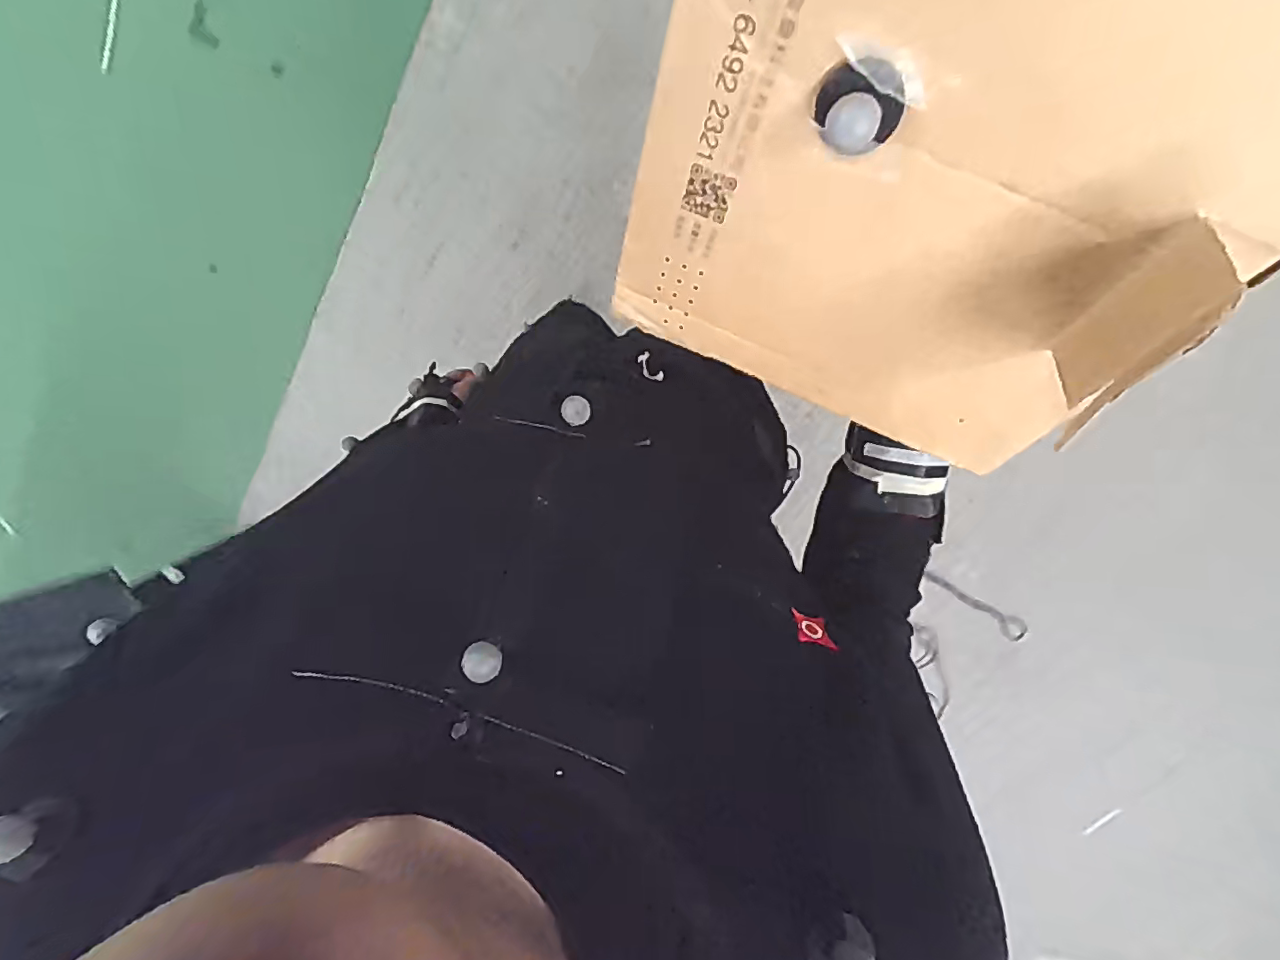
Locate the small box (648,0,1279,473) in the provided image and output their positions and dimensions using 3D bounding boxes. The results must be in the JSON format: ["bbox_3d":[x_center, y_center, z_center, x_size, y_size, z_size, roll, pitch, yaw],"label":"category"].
[{"bbox_3d":[0.123,-0.141,0.193,0.176,0.179,0.168,26,147,0],"label":"small box"}]
